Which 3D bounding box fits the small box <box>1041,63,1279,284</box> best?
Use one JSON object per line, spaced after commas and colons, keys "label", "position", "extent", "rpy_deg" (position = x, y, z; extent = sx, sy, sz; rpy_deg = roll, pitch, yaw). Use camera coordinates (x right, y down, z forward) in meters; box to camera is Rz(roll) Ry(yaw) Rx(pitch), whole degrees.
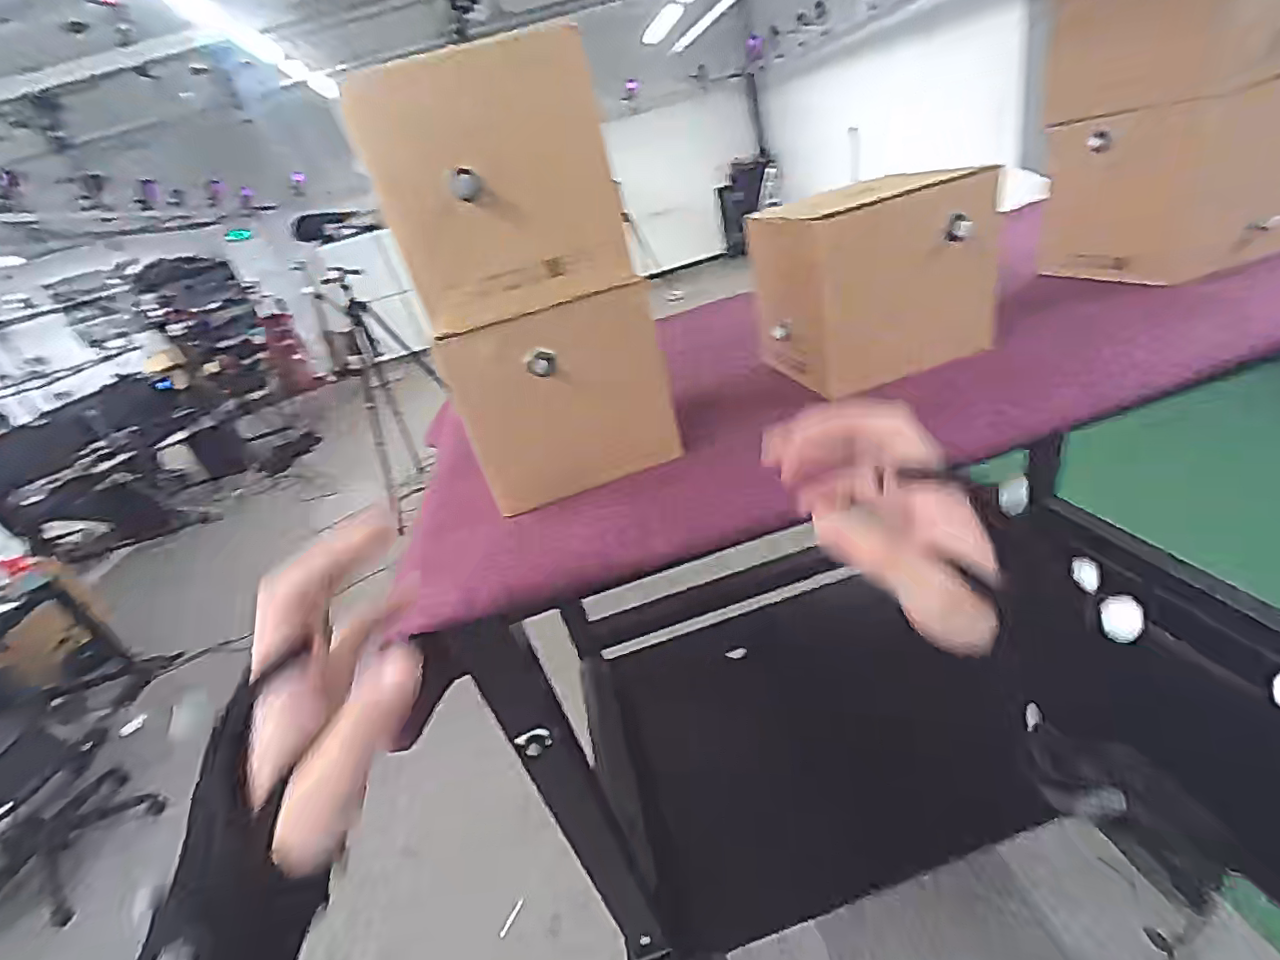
{"label": "small box", "position": [0.578, -0.327, 0.586], "extent": [0.179, 0.176, 0.168], "rpy_deg": [-18, 27, -4]}

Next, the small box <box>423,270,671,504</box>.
{"label": "small box", "position": [-0.086, -0.099, 0.529], "extent": [0.179, 0.176, 0.168], "rpy_deg": [-19, 29, -7]}

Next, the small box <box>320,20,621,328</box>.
{"label": "small box", "position": [-0.126, -0.239, 0.457], "extent": [0.168, 0.176, 0.179], "rpy_deg": [-20, 29, -6]}

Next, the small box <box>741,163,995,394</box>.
{"label": "small box", "position": [0.224, -0.210, 0.562], "extent": [0.179, 0.176, 0.168], "rpy_deg": [-19, 28, -3]}
